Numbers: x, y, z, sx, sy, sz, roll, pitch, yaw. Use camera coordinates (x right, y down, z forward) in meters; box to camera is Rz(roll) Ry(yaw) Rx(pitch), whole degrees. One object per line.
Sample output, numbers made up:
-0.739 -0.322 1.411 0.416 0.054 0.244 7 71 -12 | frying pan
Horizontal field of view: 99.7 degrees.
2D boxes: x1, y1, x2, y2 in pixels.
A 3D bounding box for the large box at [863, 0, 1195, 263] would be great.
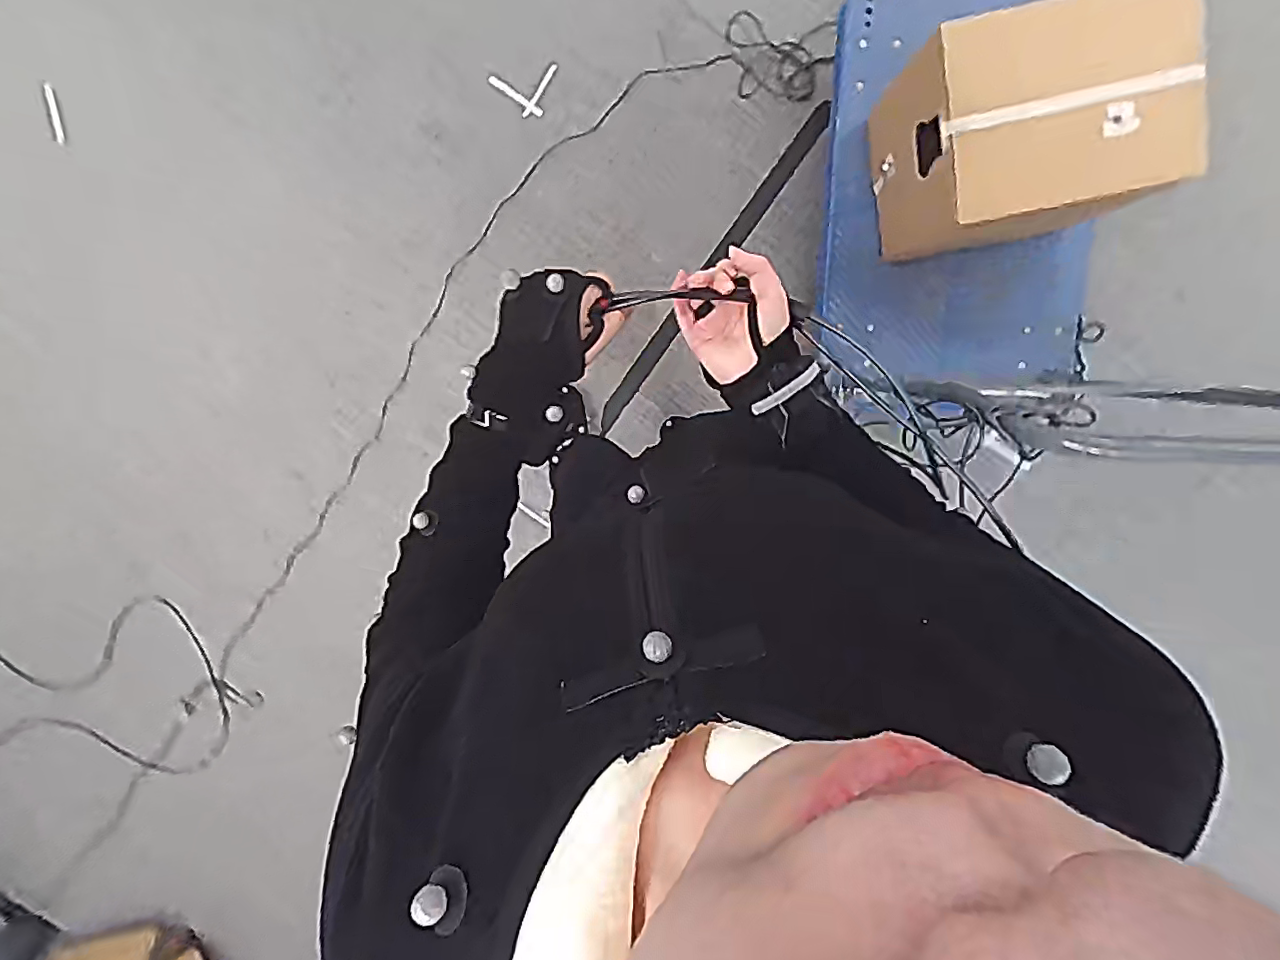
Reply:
0.696 -0.642 1.027 0.408 0.320 0.320 -10 100 3 | large box
